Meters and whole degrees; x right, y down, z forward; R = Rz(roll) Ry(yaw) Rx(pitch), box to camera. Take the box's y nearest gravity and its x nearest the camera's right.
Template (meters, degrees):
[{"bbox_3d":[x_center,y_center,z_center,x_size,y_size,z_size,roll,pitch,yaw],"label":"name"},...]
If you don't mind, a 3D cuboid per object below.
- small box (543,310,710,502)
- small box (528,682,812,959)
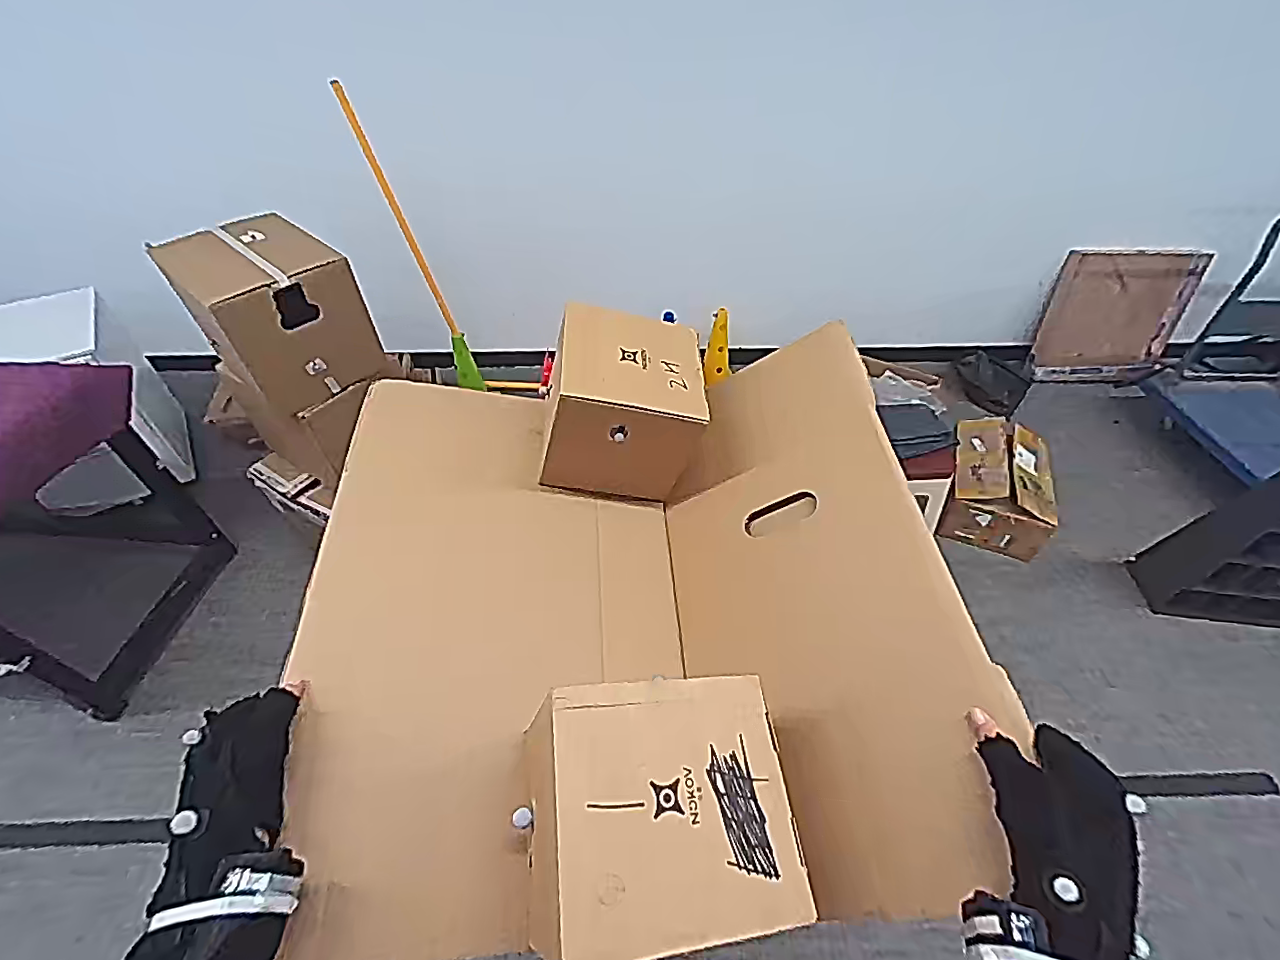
[{"bbox_3d":[-0.025,-0.088,0.706,0.179,0.176,0.168,10,52,-14],"label":"small box"},{"bbox_3d":[0.006,0.275,0.449,0.179,0.176,0.168,3,55,-17],"label":"small box"}]
